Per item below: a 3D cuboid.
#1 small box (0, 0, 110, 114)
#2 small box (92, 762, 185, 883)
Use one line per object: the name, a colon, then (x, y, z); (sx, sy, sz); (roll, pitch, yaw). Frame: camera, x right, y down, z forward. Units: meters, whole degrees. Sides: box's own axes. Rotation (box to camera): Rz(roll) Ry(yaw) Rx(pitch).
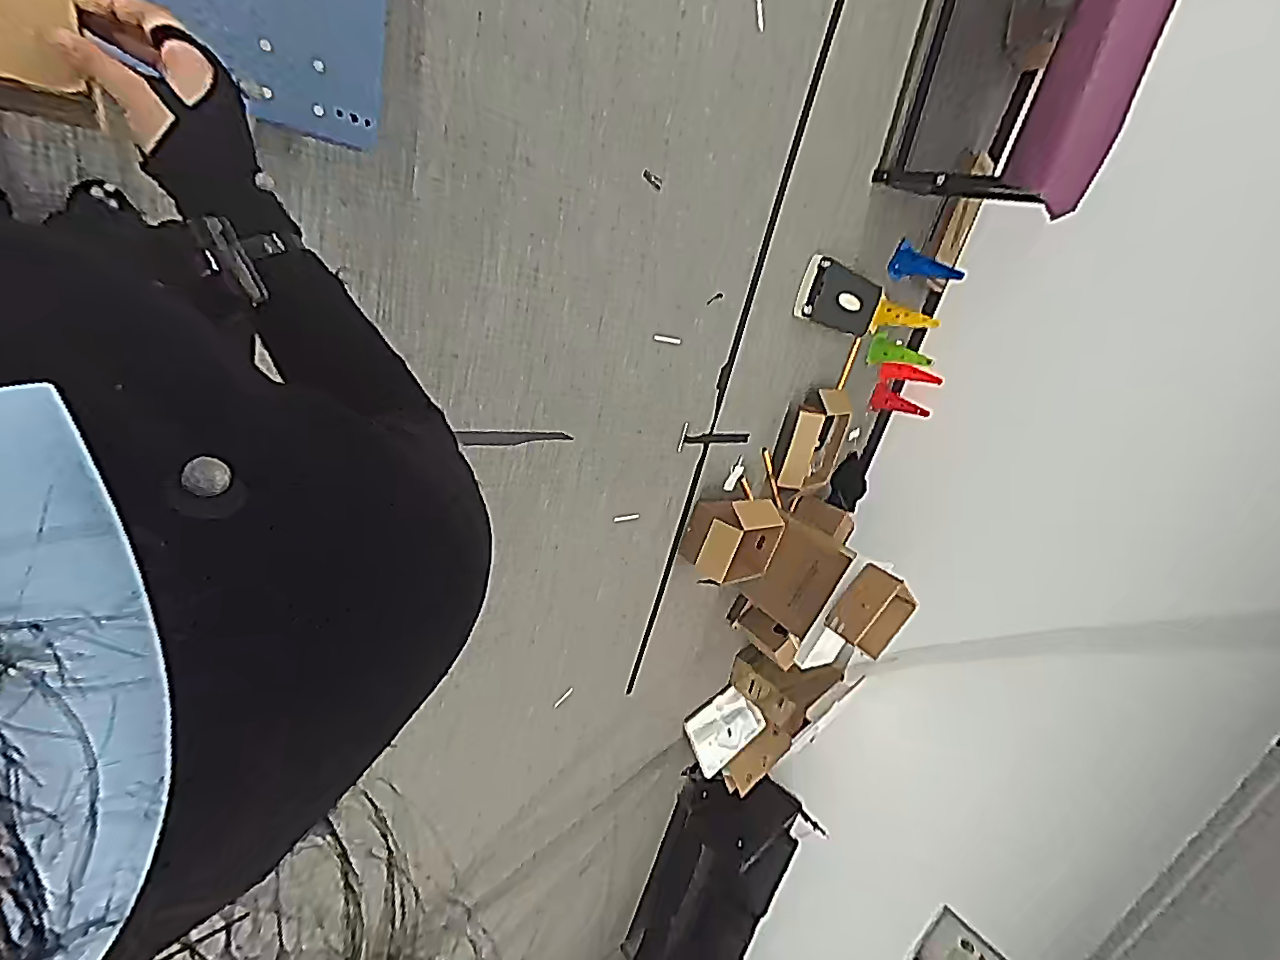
small box: (-0.461, -0.363, 0.340); (0.168, 0.176, 0.179); (-8, 115, -40)
small box: (-1.329, 0.898, 1.435); (0.168, 0.176, 0.179); (-8, 120, -45)
